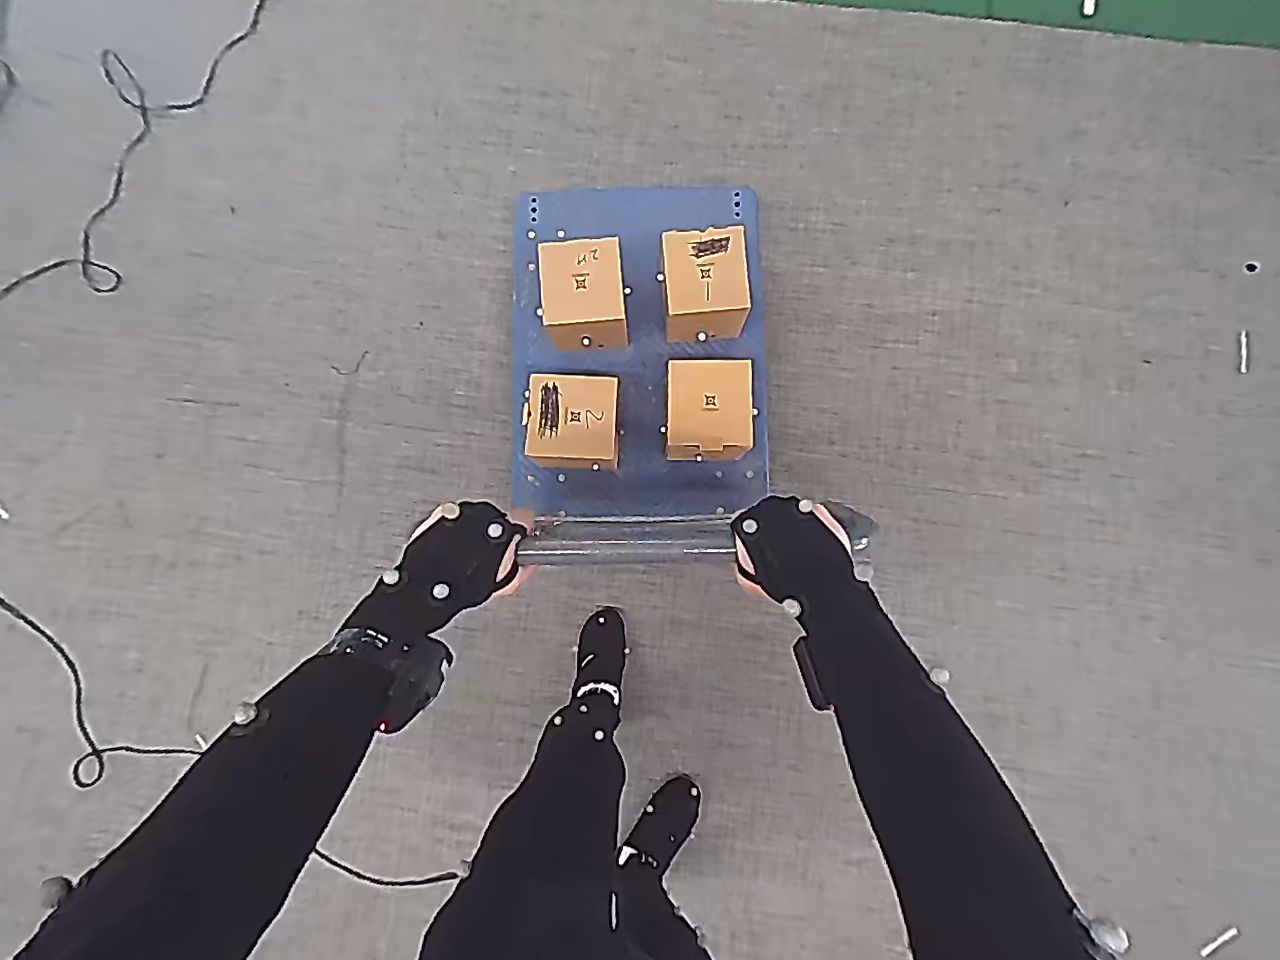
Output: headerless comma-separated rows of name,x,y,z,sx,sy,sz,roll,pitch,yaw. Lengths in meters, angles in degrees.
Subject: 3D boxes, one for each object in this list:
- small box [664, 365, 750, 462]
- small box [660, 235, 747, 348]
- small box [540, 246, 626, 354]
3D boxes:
small box,0.138,-0.136,1.157,0.168,0.176,0.179,0,84,1
small box,0.132,-0.406,1.184,0.168,0.176,0.179,-5,85,1
small box,-0.118,-0.383,1.186,0.168,0.176,0.179,-5,84,0
